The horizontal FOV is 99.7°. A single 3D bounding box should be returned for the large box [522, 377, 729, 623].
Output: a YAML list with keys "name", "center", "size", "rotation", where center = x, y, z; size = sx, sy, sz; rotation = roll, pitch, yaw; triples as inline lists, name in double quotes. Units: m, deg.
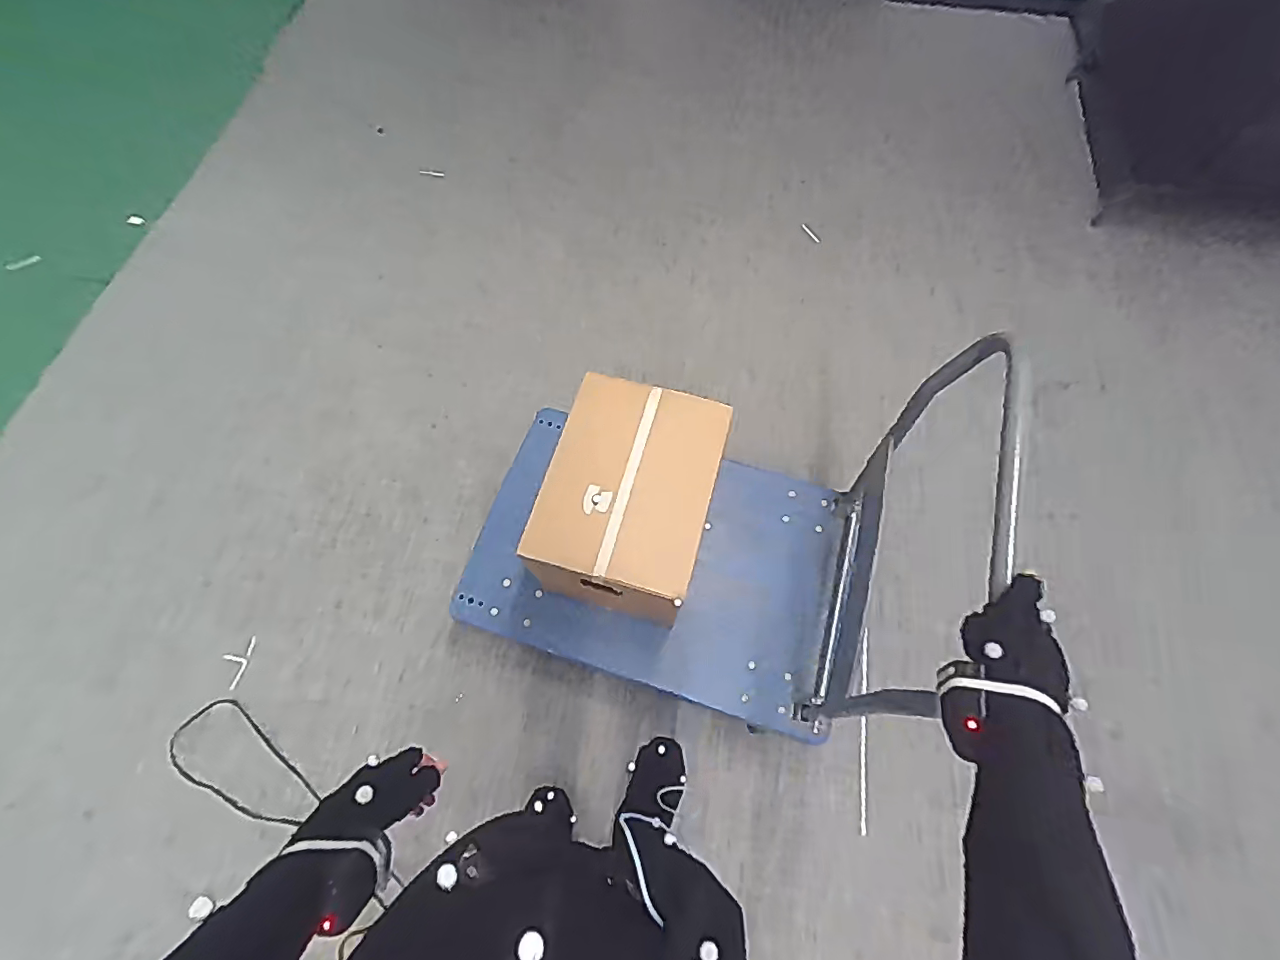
- name: "large box"
  center: [-0.016, 0.054, 1.163]
  size: [0.320, 0.320, 0.408]
  rotation: [14, 68, 7]
